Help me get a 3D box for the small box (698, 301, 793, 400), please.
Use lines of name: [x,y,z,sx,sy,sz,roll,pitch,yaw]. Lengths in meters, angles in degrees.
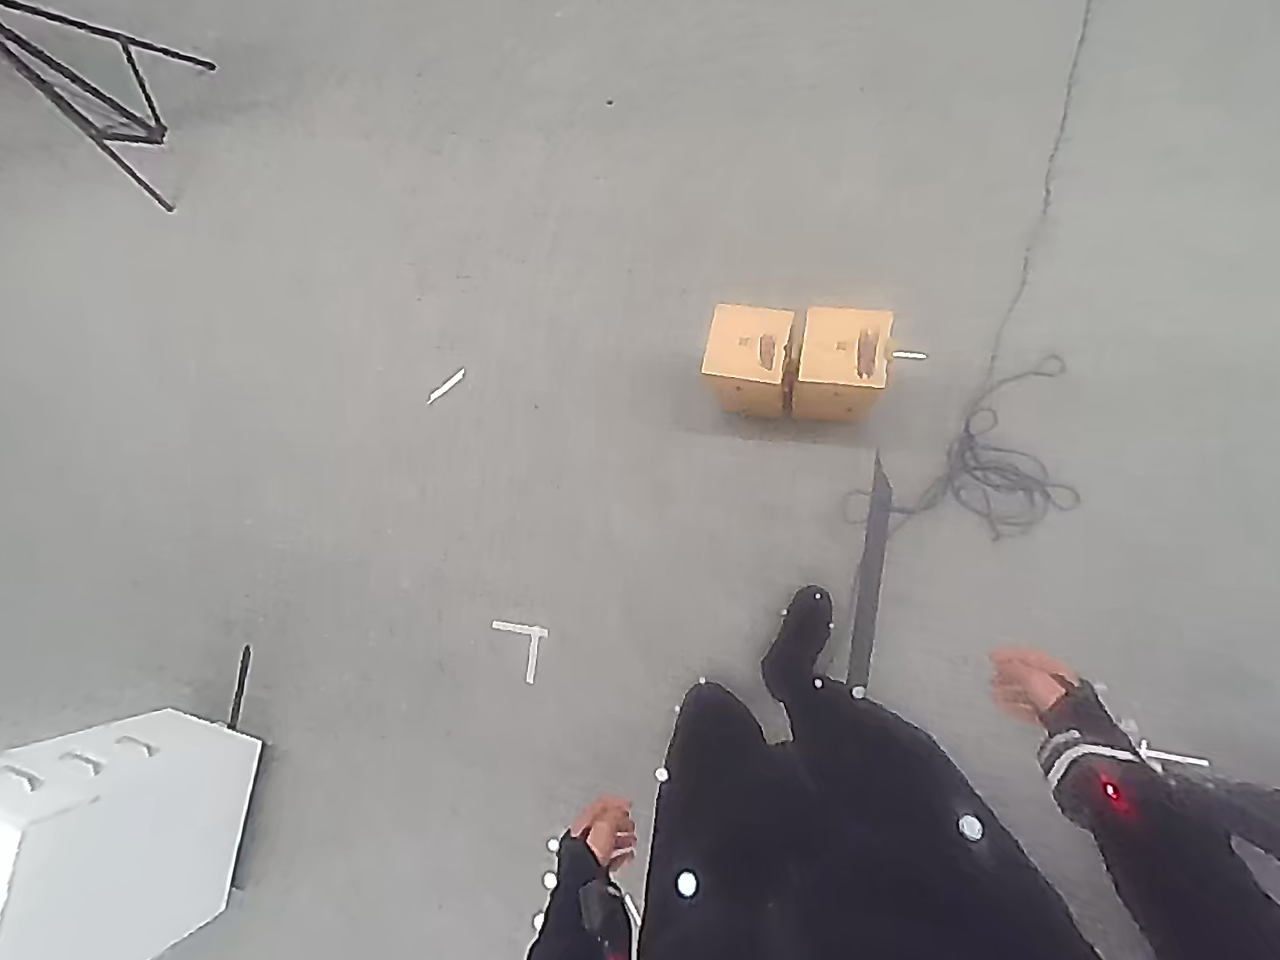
small box: [0.248,-0.288,1.237,0.179,0.176,0.168,11,86,17]
